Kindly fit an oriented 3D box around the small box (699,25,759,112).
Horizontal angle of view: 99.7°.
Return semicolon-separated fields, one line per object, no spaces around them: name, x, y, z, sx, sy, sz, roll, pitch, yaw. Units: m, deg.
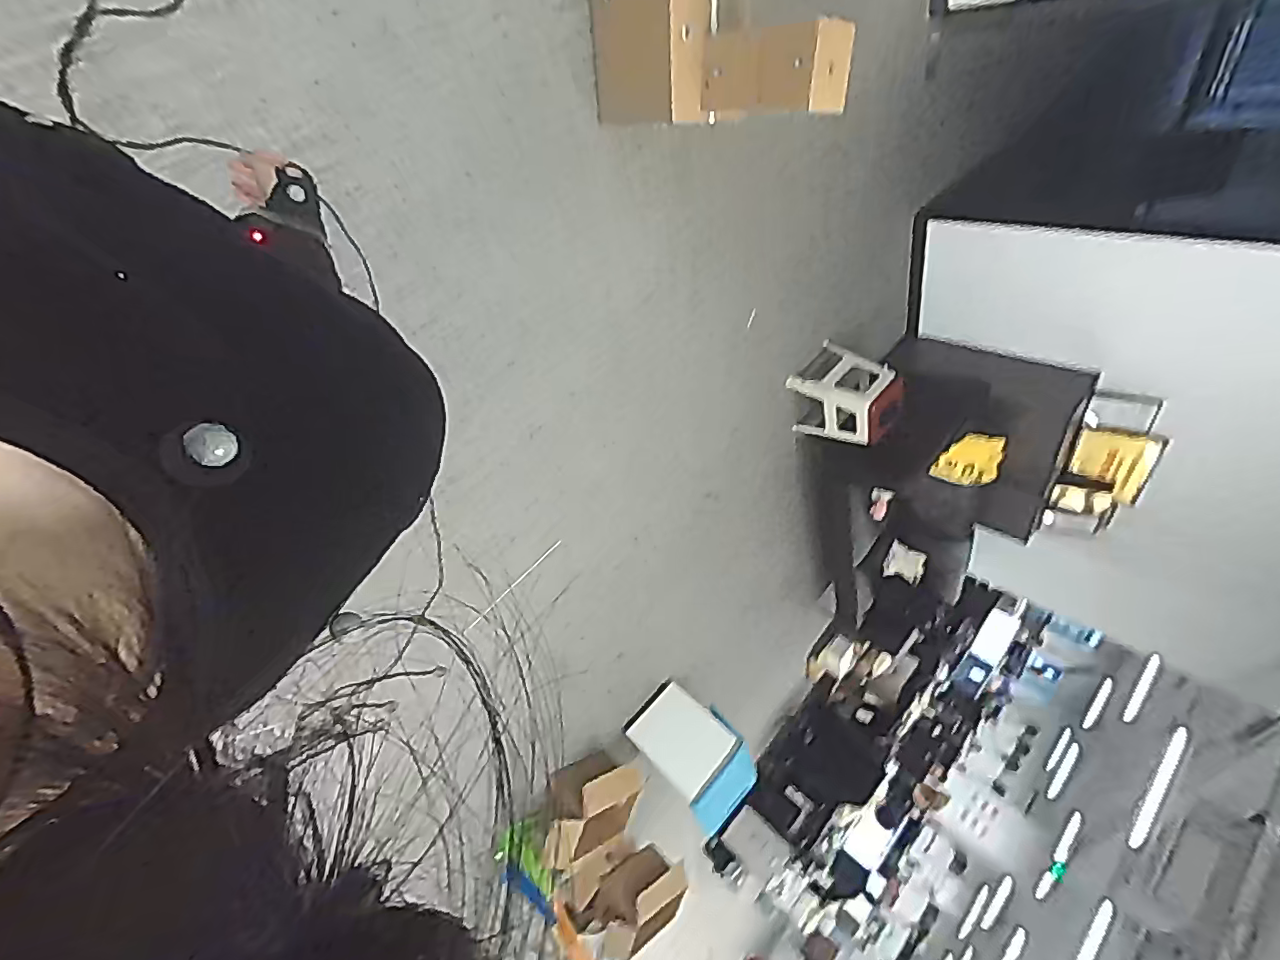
small box;0.276;-1.073;1.420;0.179;0.176;0.168;-30;131;-34

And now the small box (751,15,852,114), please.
small box;0.389;-1.005;1.324;0.168;0.176;0.179;-29;130;-35
